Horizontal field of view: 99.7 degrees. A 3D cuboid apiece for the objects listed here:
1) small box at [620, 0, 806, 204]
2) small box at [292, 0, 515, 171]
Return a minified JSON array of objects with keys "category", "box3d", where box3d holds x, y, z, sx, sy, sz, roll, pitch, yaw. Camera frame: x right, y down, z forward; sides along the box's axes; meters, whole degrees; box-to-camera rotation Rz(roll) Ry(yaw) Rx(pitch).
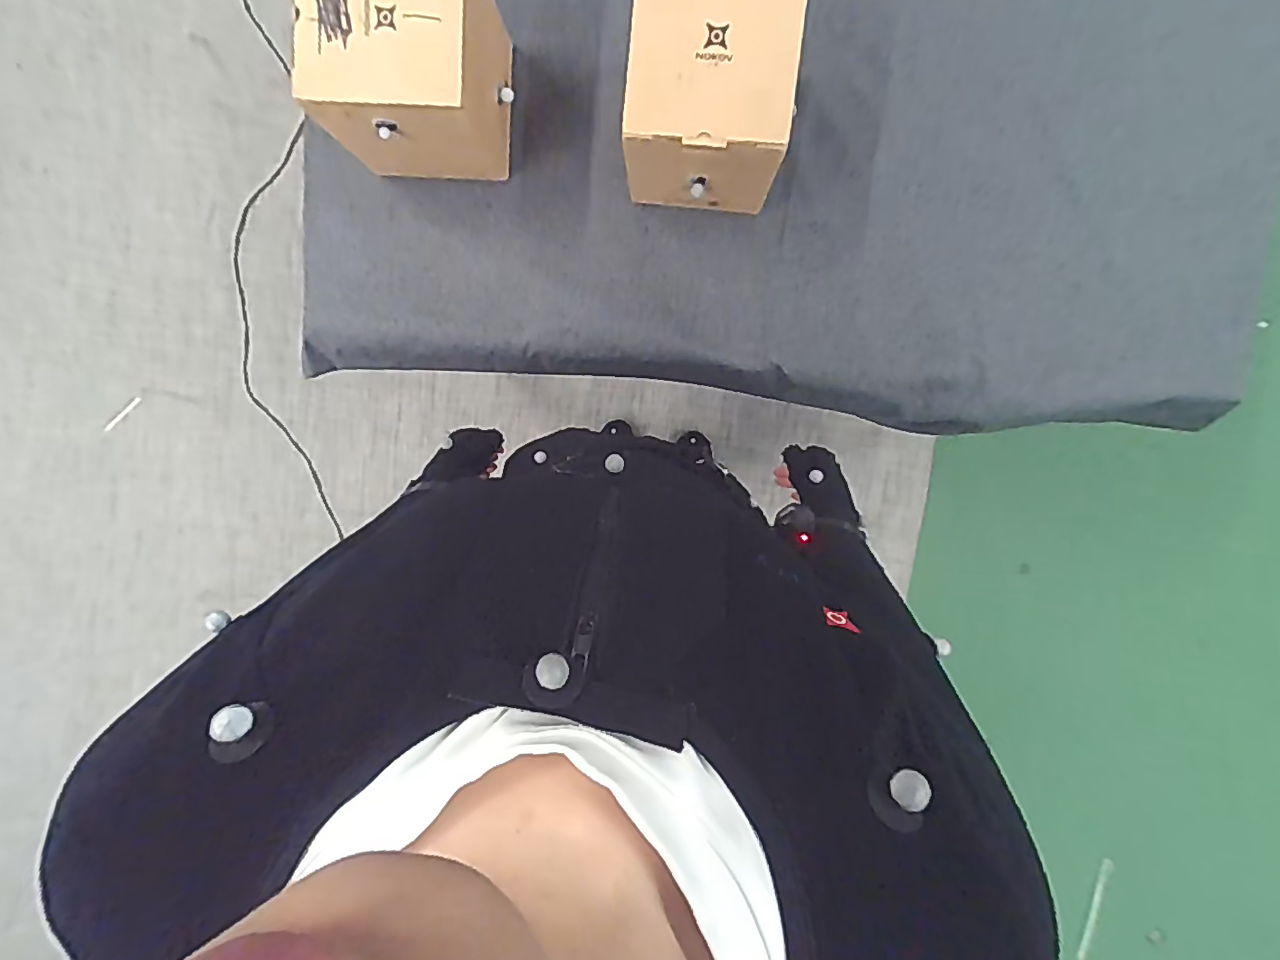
[{"category":"small box","box3d":[0.076,-0.428,0.596,0.168,0.176,0.179,7,97,2]},{"category":"small box","box3d":[-0.253,-0.471,0.607,0.179,0.176,0.168,4,97,2]}]
